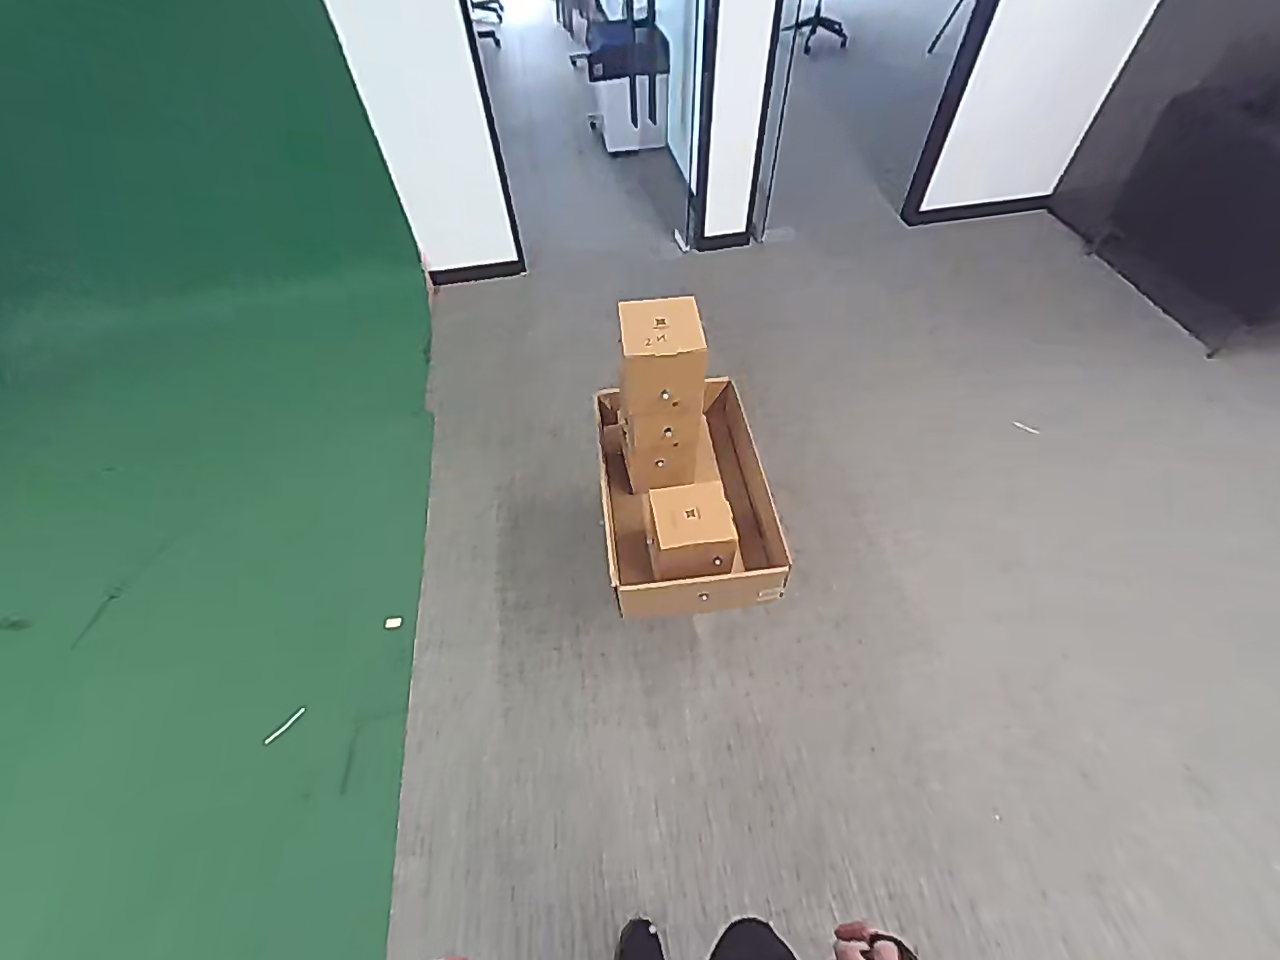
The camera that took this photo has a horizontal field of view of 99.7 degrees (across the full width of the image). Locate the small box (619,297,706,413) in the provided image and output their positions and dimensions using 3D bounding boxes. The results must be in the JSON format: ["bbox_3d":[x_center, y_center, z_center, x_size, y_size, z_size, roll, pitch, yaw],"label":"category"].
[{"bbox_3d":[0.043,-0.266,1.160,0.168,0.176,0.179,-6,55,-1],"label":"small box"}]

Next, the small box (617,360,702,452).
[{"bbox_3d":[0.045,-0.183,1.303,0.168,0.176,0.179,-11,55,-6],"label":"small box"}]
